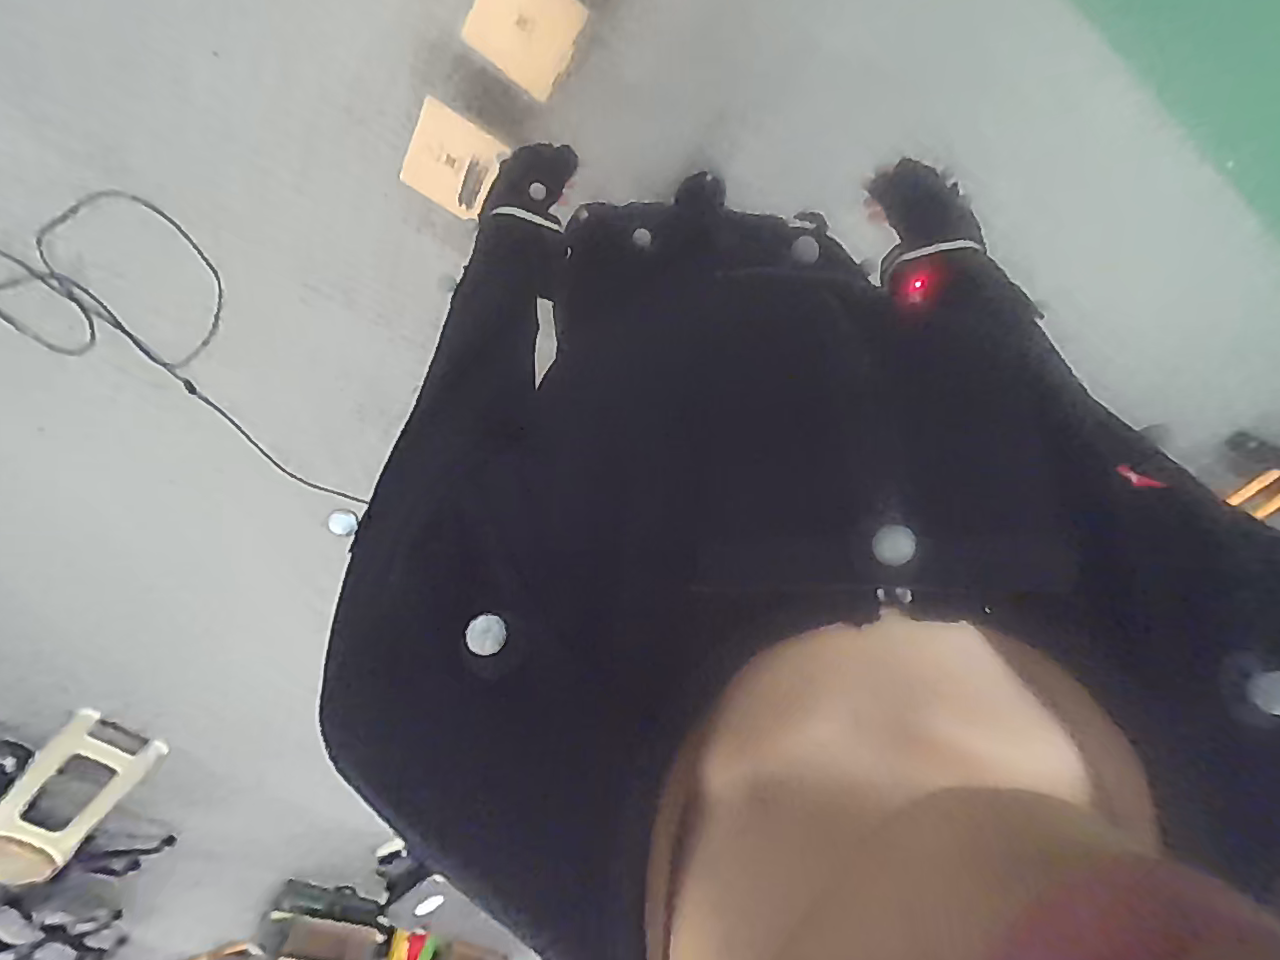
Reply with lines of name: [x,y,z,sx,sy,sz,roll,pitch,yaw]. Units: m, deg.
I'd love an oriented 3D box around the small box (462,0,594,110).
small box: [-0.203,-0.839,1.027,0.179,0.176,0.168,31,115,-17]
